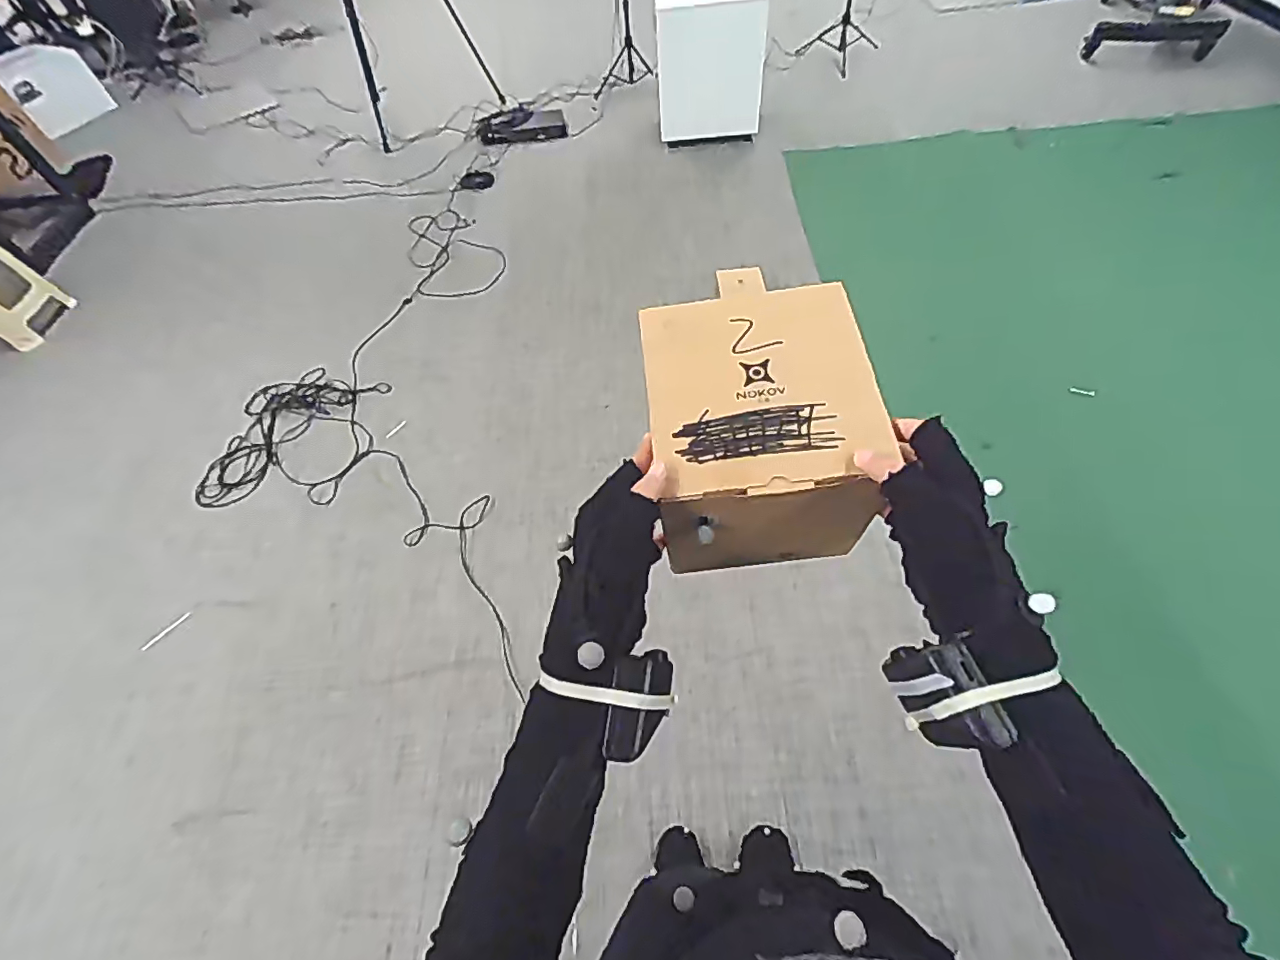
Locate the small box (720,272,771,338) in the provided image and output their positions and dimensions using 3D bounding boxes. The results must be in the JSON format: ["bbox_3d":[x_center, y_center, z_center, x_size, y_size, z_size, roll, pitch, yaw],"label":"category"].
[{"bbox_3d":[0.401,-0.672,2.082,0.168,0.176,0.179,-4,57,4],"label":"small box"}]
